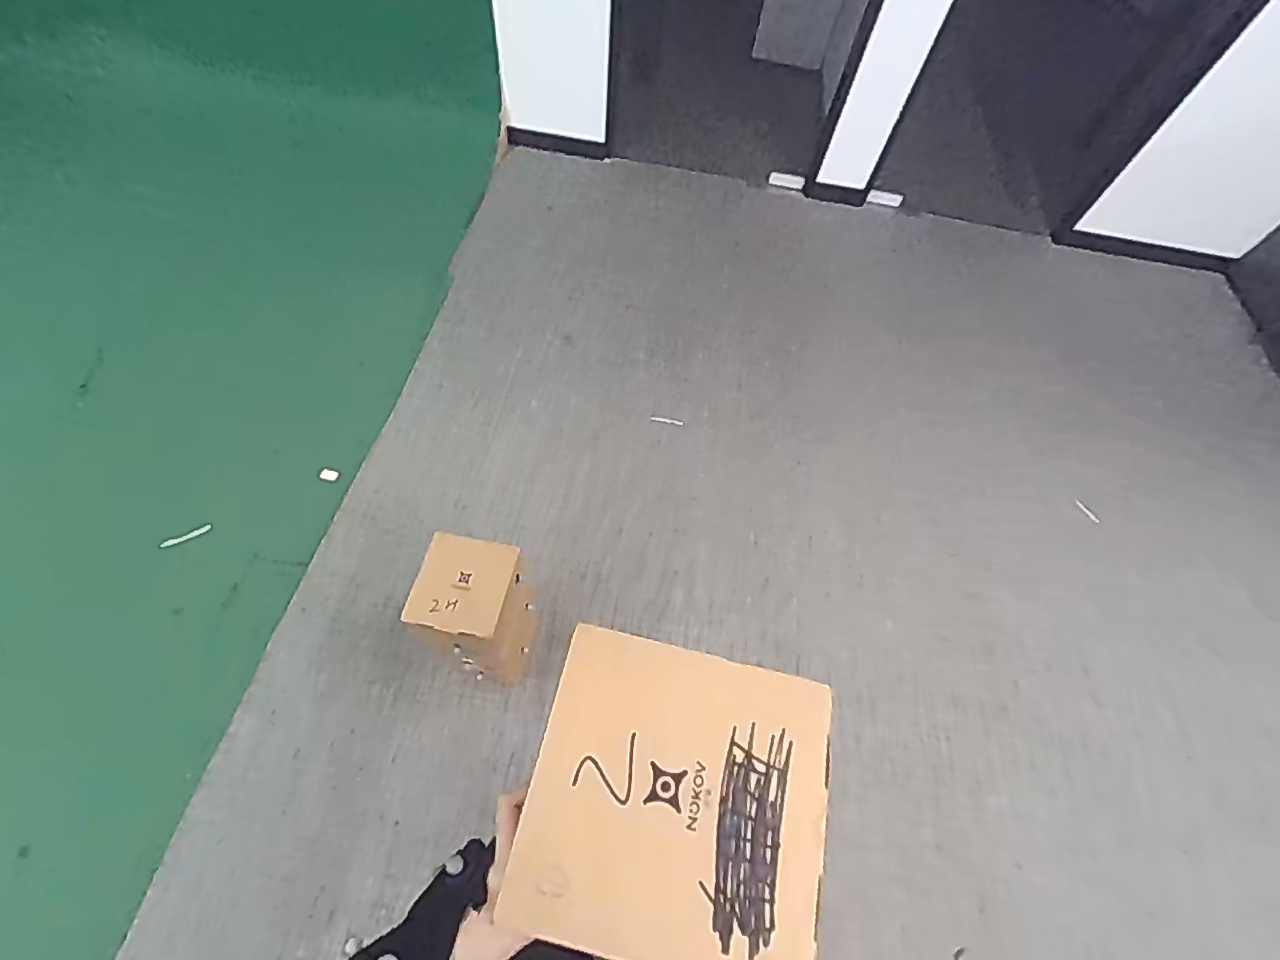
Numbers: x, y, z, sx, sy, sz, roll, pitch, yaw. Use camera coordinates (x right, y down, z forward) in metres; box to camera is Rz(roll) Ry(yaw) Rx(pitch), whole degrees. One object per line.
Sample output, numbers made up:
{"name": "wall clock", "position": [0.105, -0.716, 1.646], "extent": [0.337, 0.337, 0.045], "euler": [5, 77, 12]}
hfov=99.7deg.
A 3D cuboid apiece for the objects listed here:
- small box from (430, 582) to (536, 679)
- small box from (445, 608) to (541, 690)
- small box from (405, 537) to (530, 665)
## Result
{"name": "small box", "position": [-0.328, 0.314, 1.174], "extent": [0.168, 0.176, 0.179], "euler": [10, 60, 2]}
{"name": "small box", "position": [-0.345, 0.396, 1.314], "extent": [0.168, 0.176, 0.179], "euler": [14, 60, 3]}
{"name": "small box", "position": [-0.314, 0.234, 1.031], "extent": [0.168, 0.176, 0.179], "euler": [10, 59, 3]}
